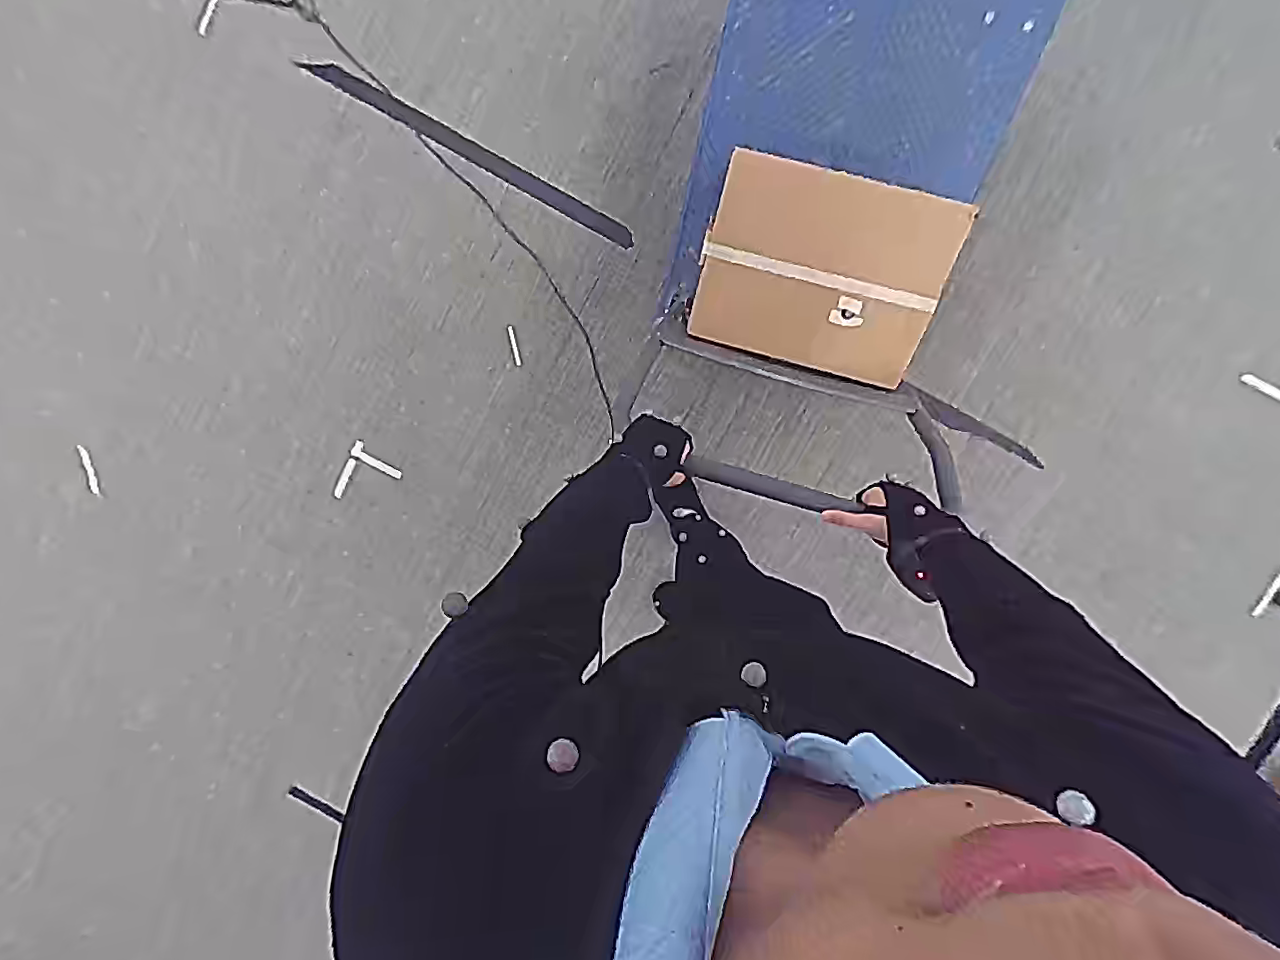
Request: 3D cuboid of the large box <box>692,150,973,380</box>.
[{"bbox_3d":[0.342,-0.431,1.084,0.408,0.320,0.320,16,119,3],"label":"large box"}]
